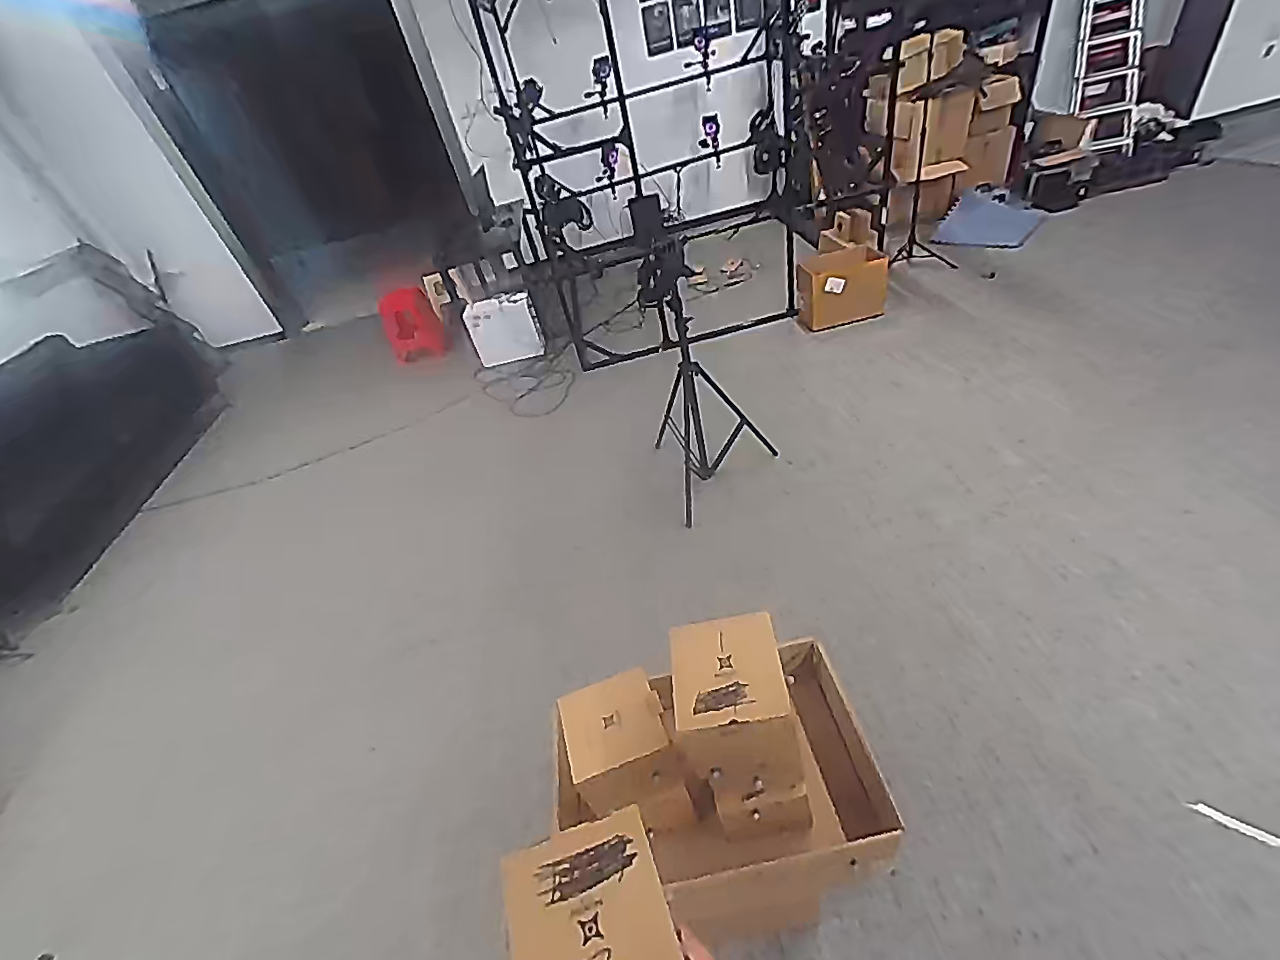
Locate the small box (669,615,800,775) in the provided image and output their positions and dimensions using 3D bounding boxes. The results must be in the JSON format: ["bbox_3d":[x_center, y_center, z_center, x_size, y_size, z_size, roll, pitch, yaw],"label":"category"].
[{"bbox_3d":[0.147,0.344,0.853,0.168,0.176,0.179,-12,39,9],"label":"small box"}]

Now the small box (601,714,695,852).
[{"bbox_3d":[0.002,0.614,1.103,0.168,0.176,0.179,-19,40,-5],"label":"small box"}]

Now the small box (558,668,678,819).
[{"bbox_3d":[-0.036,0.489,1.005,0.179,0.176,0.168,-19,39,-6],"label":"small box"}]
